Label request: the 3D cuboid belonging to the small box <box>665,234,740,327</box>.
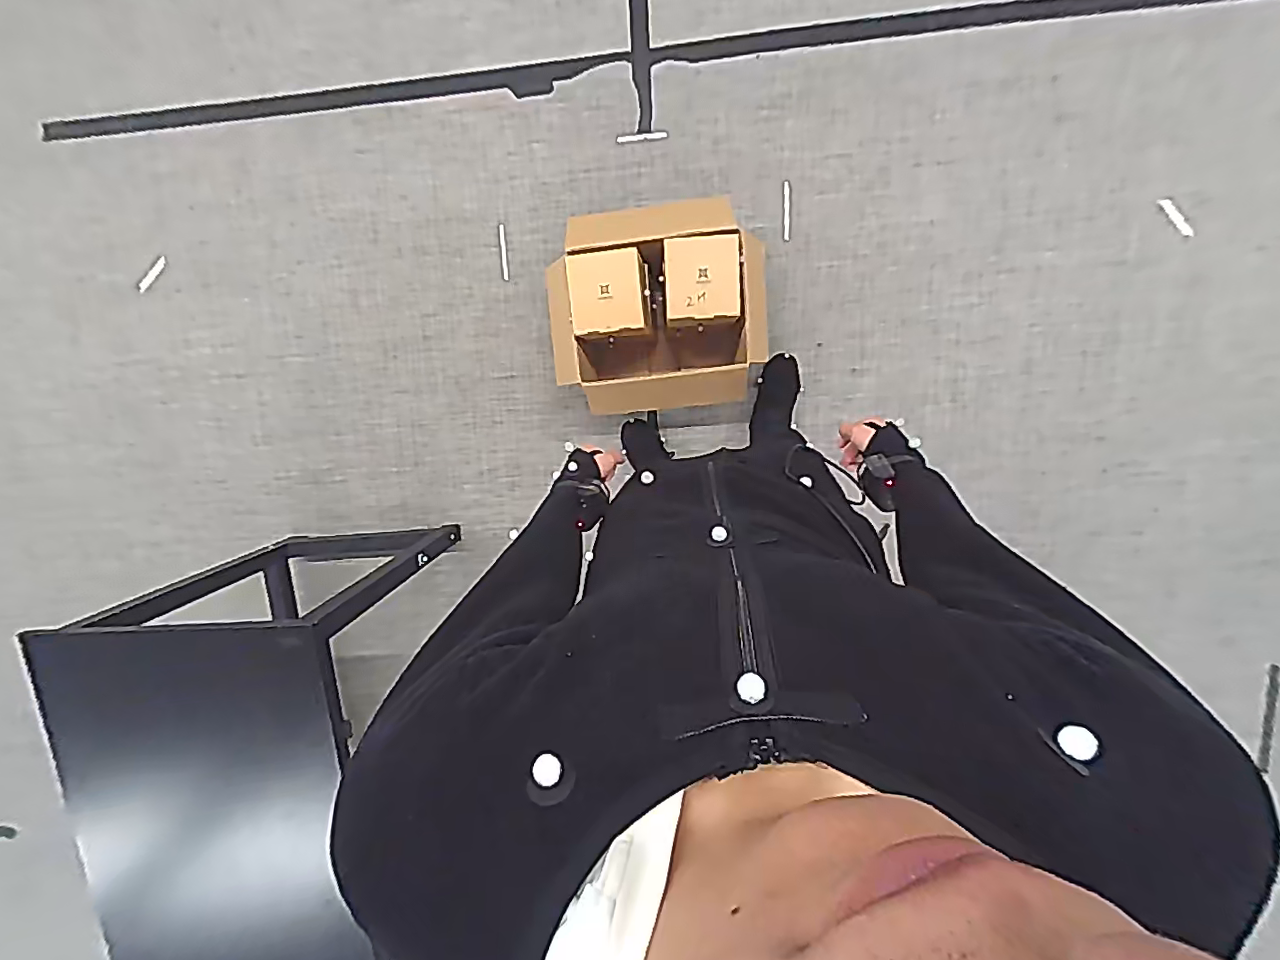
[{"bbox_3d":[0.142,-0.461,1.267,0.168,0.176,0.179,-1,100,5],"label":"small box"}]
